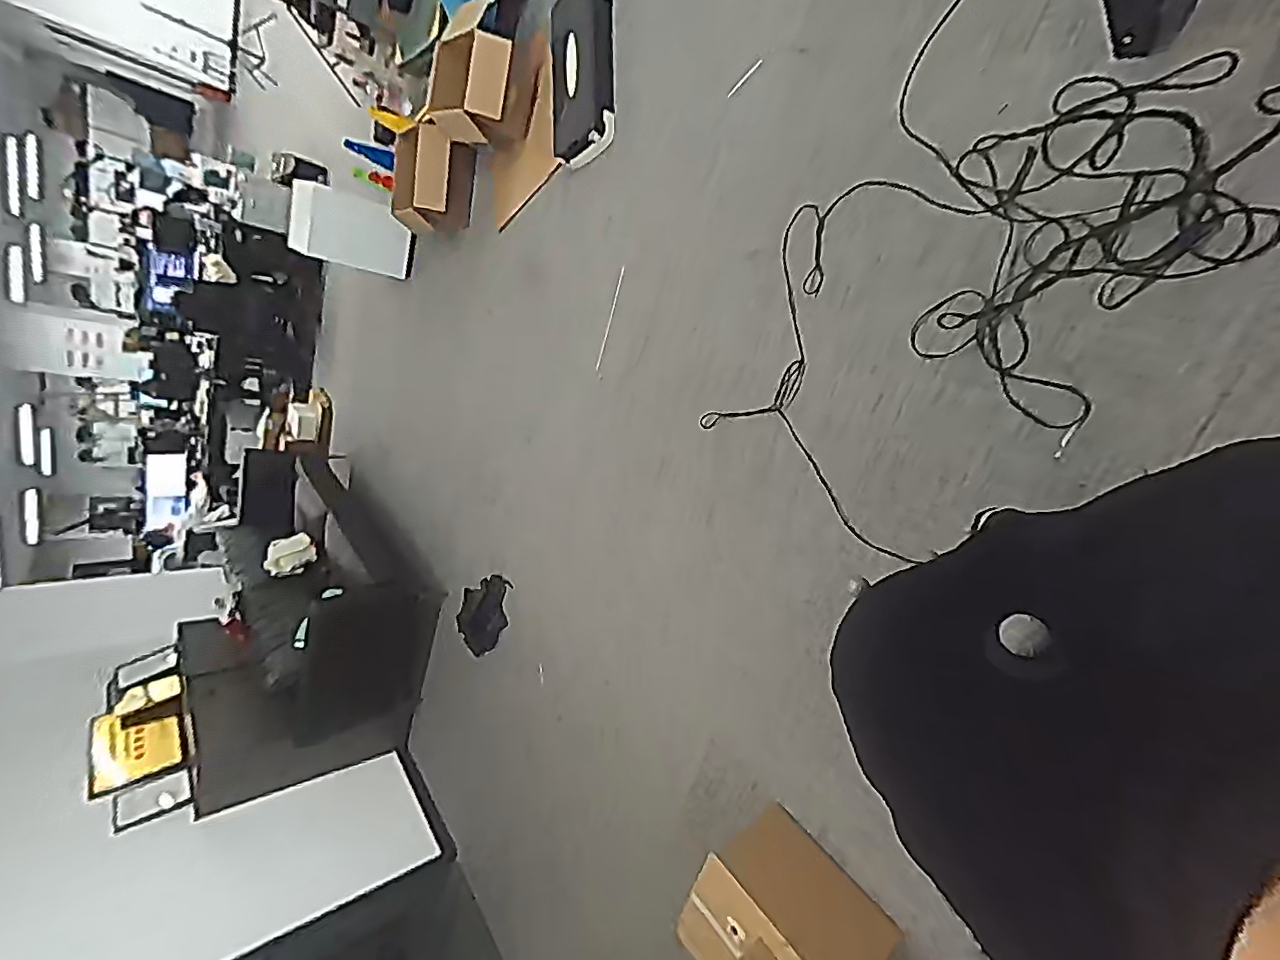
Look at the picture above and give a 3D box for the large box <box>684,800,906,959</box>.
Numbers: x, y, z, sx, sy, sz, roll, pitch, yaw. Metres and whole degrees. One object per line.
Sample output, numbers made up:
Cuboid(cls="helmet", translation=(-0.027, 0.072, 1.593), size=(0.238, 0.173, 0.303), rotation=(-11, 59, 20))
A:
Cuboid(cls="large box", translation=(0.394, 1.159, 1.414), size=(0.408, 0.320, 0.320), rotation=(34, 114, 42))
